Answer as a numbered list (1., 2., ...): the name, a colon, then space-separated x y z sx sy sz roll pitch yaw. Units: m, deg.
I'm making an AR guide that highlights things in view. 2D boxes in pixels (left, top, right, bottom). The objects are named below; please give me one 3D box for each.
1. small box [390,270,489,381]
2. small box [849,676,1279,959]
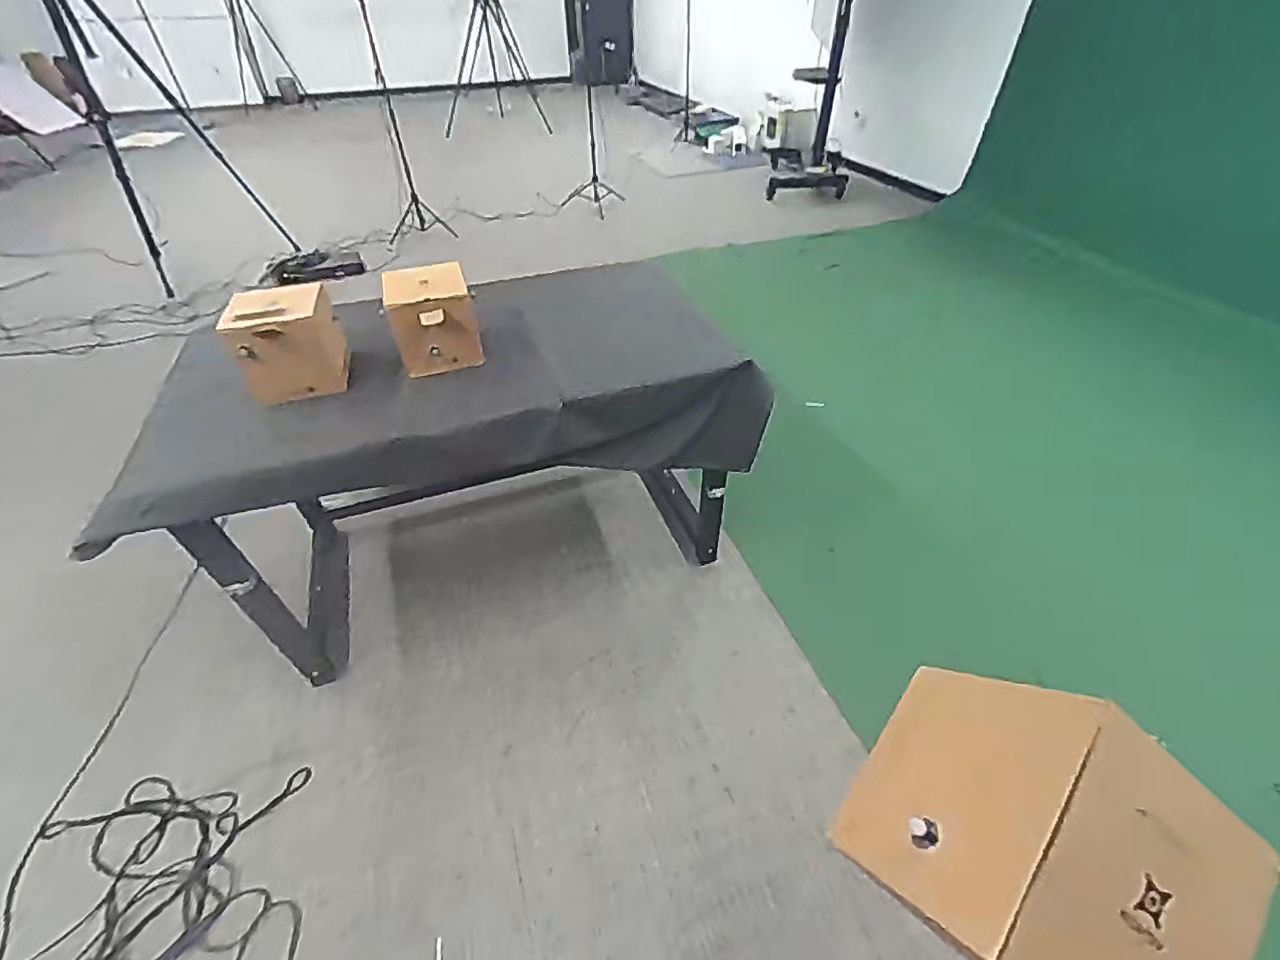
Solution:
1. small box: -0.441 -0.341 1.192 0.168 0.176 0.179 -15 45 -14
2. small box: 0.288 0.274 0.398 0.168 0.176 0.179 41 72 -3
